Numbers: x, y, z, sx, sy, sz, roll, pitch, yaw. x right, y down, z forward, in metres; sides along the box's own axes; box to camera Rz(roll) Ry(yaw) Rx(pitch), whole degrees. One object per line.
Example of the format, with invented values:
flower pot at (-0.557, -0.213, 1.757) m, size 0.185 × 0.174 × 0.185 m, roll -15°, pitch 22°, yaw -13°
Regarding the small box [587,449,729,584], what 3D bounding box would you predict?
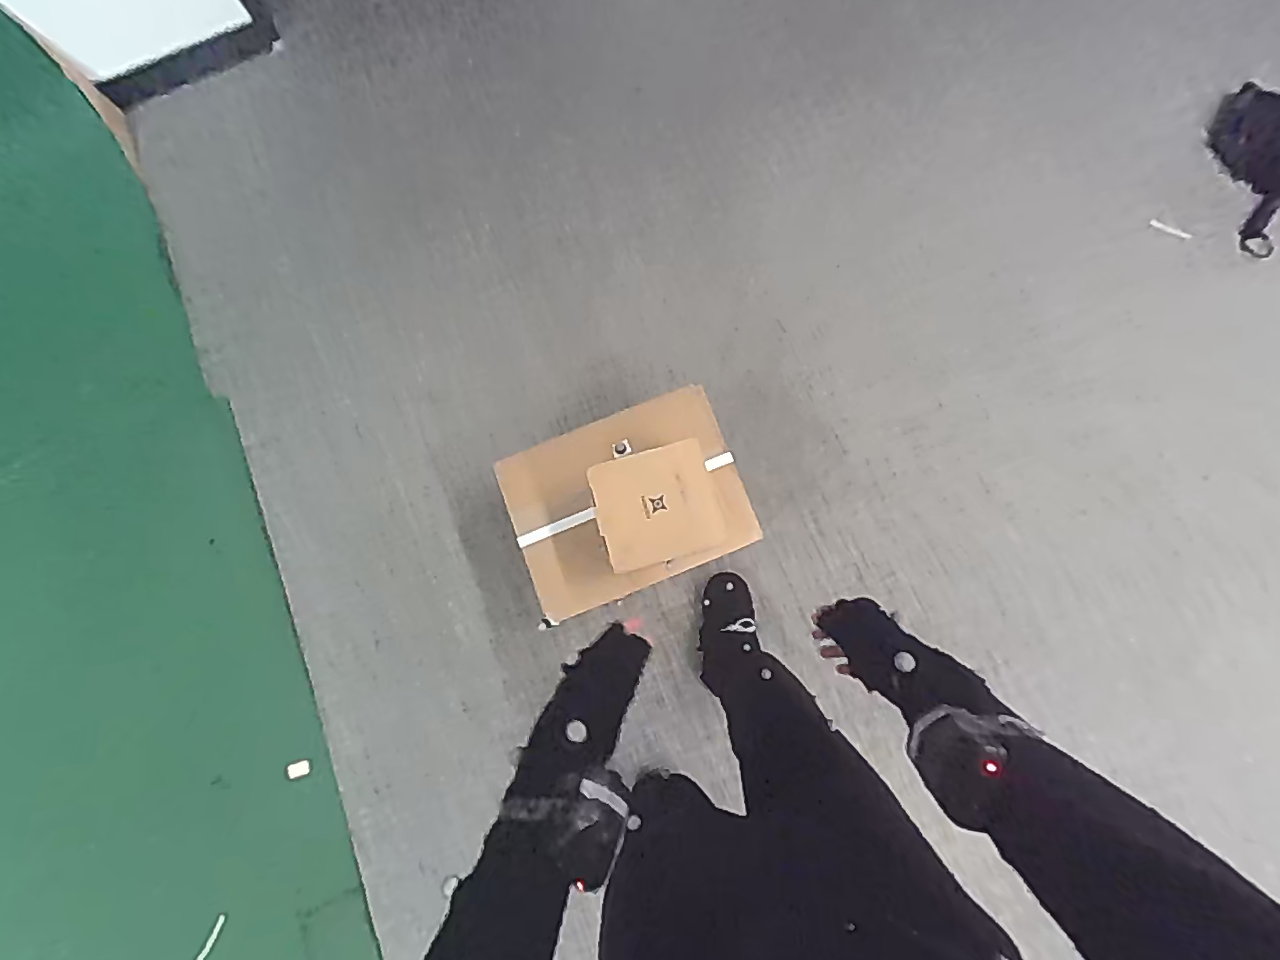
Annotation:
small box at (0.028, 0.064, 0.865) m, size 0.179 × 0.176 × 0.168 m, roll -16°, pitch 82°, yaw -2°
